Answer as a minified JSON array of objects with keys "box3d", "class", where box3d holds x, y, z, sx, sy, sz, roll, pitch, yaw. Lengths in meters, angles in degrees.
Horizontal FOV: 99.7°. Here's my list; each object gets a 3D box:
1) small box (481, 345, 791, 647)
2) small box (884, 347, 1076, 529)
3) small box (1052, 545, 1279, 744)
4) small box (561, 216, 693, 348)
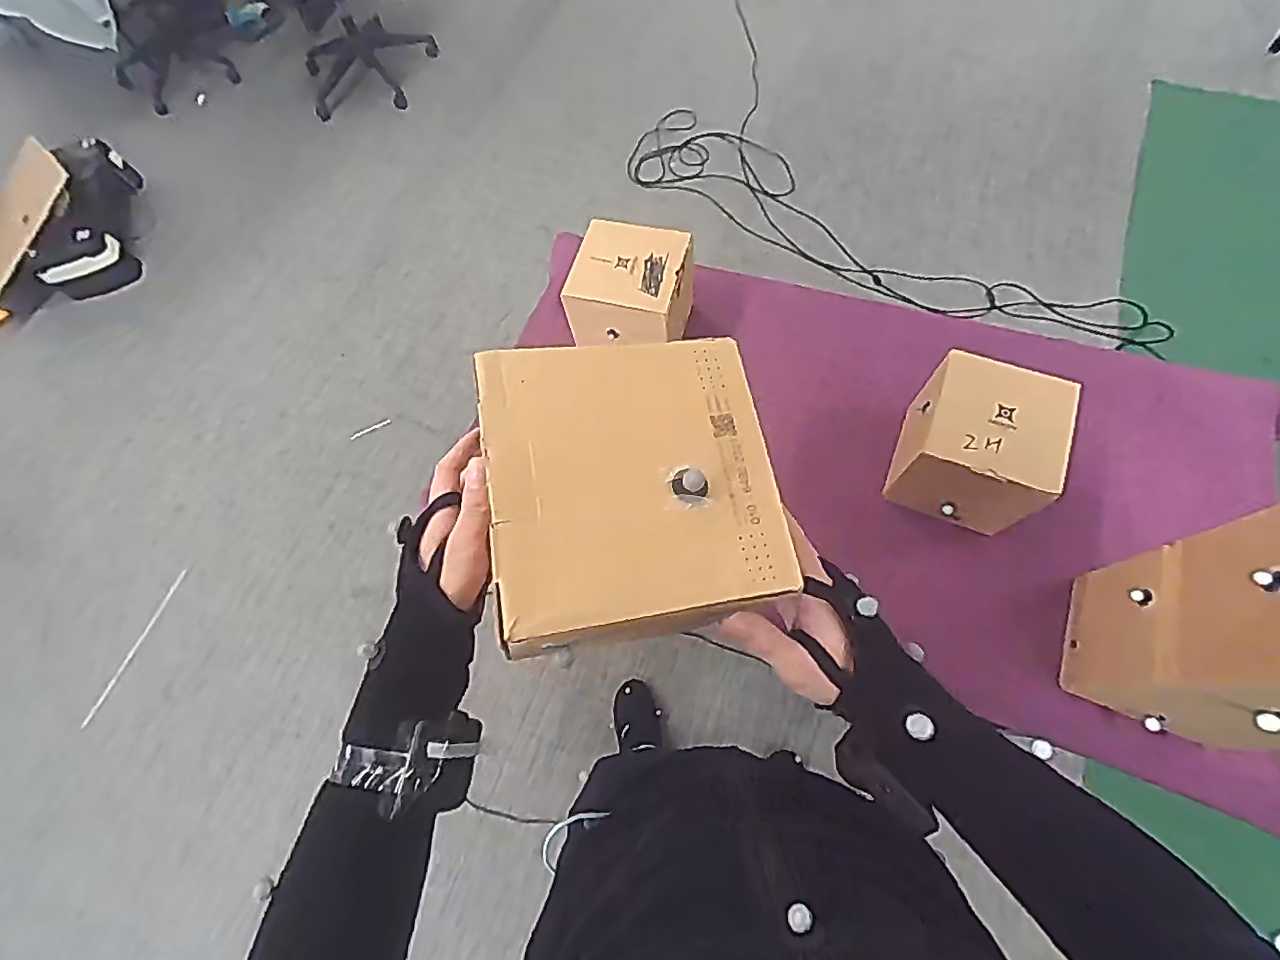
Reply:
[{"box3d":[-0.018,0.021,0.387,0.176,0.179,0.168,-5,71,-15],"class":"small box"},{"box3d":[0.478,-0.054,0.783,0.168,0.176,0.179,22,72,14],"class":"small box"},{"box3d":[0.660,0.203,0.661,0.179,0.176,0.168,21,70,13],"class":"small box"},{"box3d":[-0.012,-0.316,0.931,0.179,0.176,0.168,14,70,11],"class":"small box"}]
